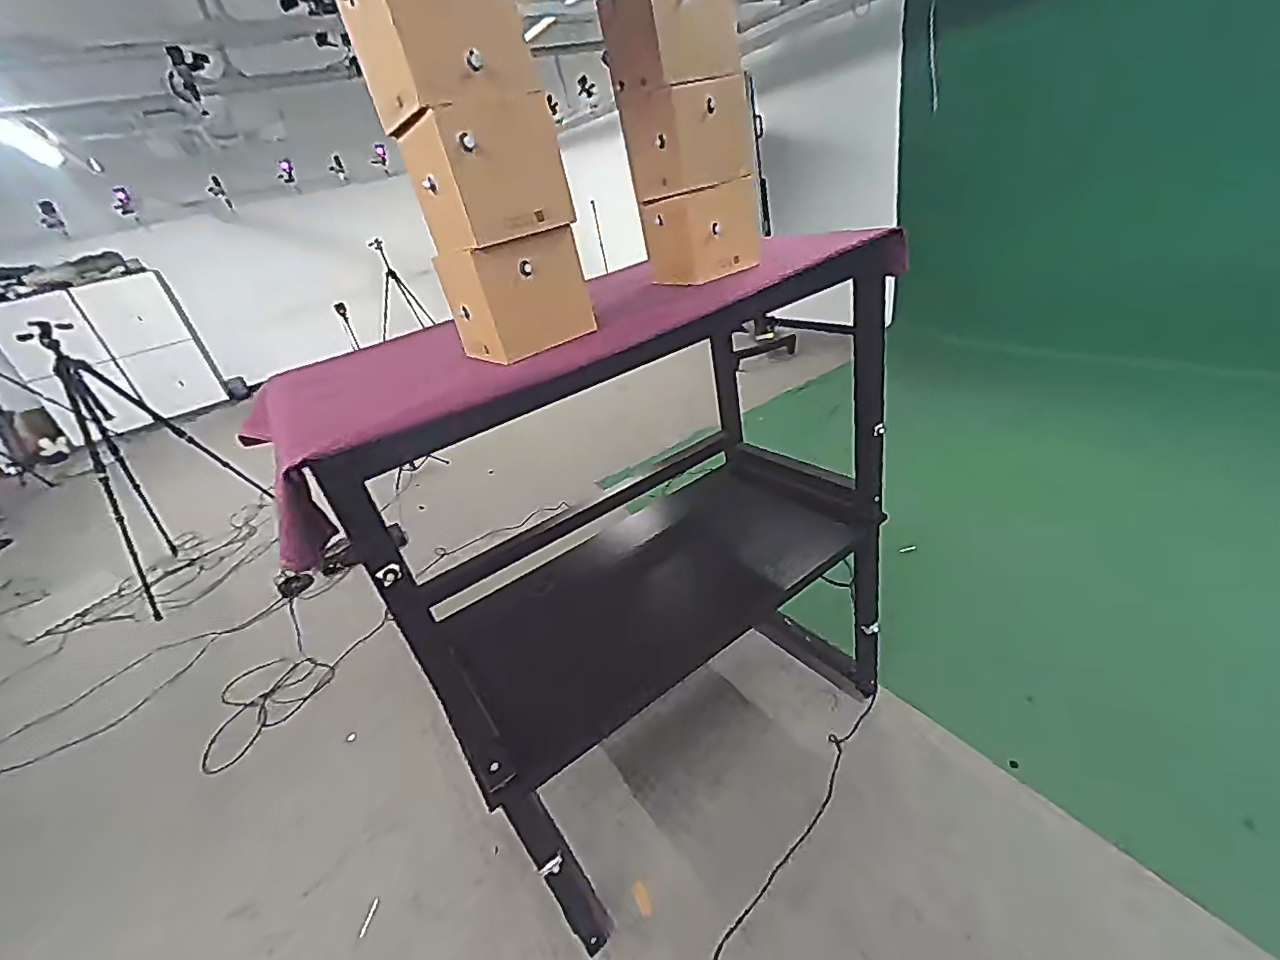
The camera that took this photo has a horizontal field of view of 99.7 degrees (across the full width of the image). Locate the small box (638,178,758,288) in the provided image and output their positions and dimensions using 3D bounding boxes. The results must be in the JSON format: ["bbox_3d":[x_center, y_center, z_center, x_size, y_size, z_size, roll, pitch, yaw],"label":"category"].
[{"bbox_3d":[0.123,-0.499,1.111,0.168,0.176,0.179,-26,29,-22],"label":"small box"}]

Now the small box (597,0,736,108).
[{"bbox_3d":[0.052,-0.781,0.961,0.179,0.176,0.168,-26,30,-23],"label":"small box"}]

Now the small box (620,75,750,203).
[{"bbox_3d":[0.090,-0.636,1.028,0.179,0.176,0.168,-28,31,-25],"label":"small box"}]

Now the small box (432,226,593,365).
[{"bbox_3d":[-0.202,-0.296,0.877,0.179,0.176,0.168,-30,32,-28],"label":"small box"}]

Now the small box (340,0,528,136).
[{"bbox_3d":[-0.269,-0.581,0.728,0.179,0.176,0.168,-30,31,-29],"label":"small box"}]
